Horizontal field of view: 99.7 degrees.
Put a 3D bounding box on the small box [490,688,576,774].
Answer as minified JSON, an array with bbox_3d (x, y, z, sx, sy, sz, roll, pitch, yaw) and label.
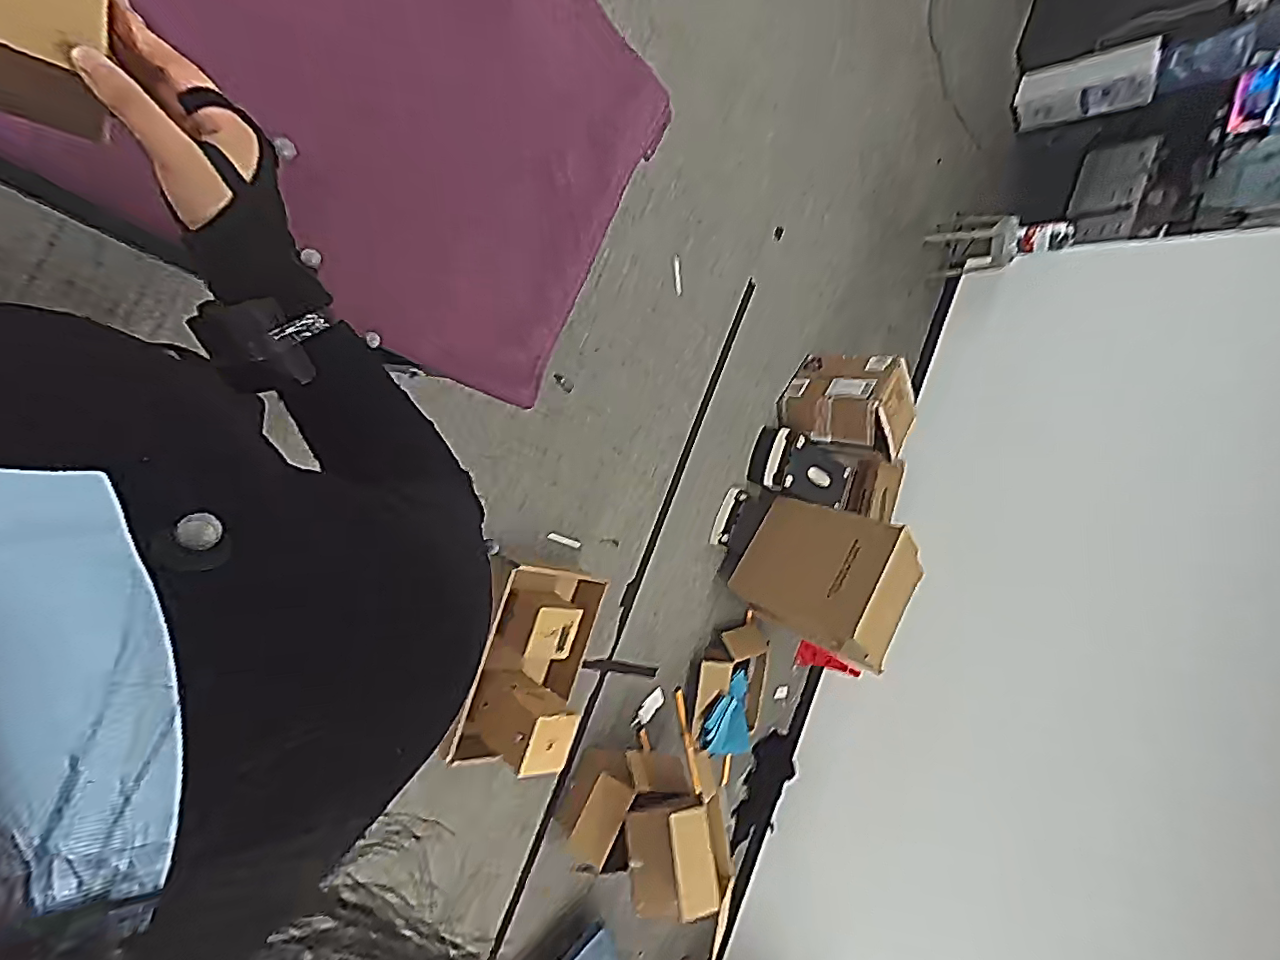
[{"bbox_3d":[-0.326,0.745,1.621,0.168,0.176,0.179,22,84,-45],"label":"small box"}]

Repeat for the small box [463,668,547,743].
[{"bbox_3d":[-0.437,0.718,1.736,0.179,0.176,0.168,23,85,-46],"label":"small box"}]

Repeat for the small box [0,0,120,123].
[{"bbox_3d":[-0.397,-0.326,0.286,0.179,0.176,0.168,2,102,-46],"label":"small box"}]
